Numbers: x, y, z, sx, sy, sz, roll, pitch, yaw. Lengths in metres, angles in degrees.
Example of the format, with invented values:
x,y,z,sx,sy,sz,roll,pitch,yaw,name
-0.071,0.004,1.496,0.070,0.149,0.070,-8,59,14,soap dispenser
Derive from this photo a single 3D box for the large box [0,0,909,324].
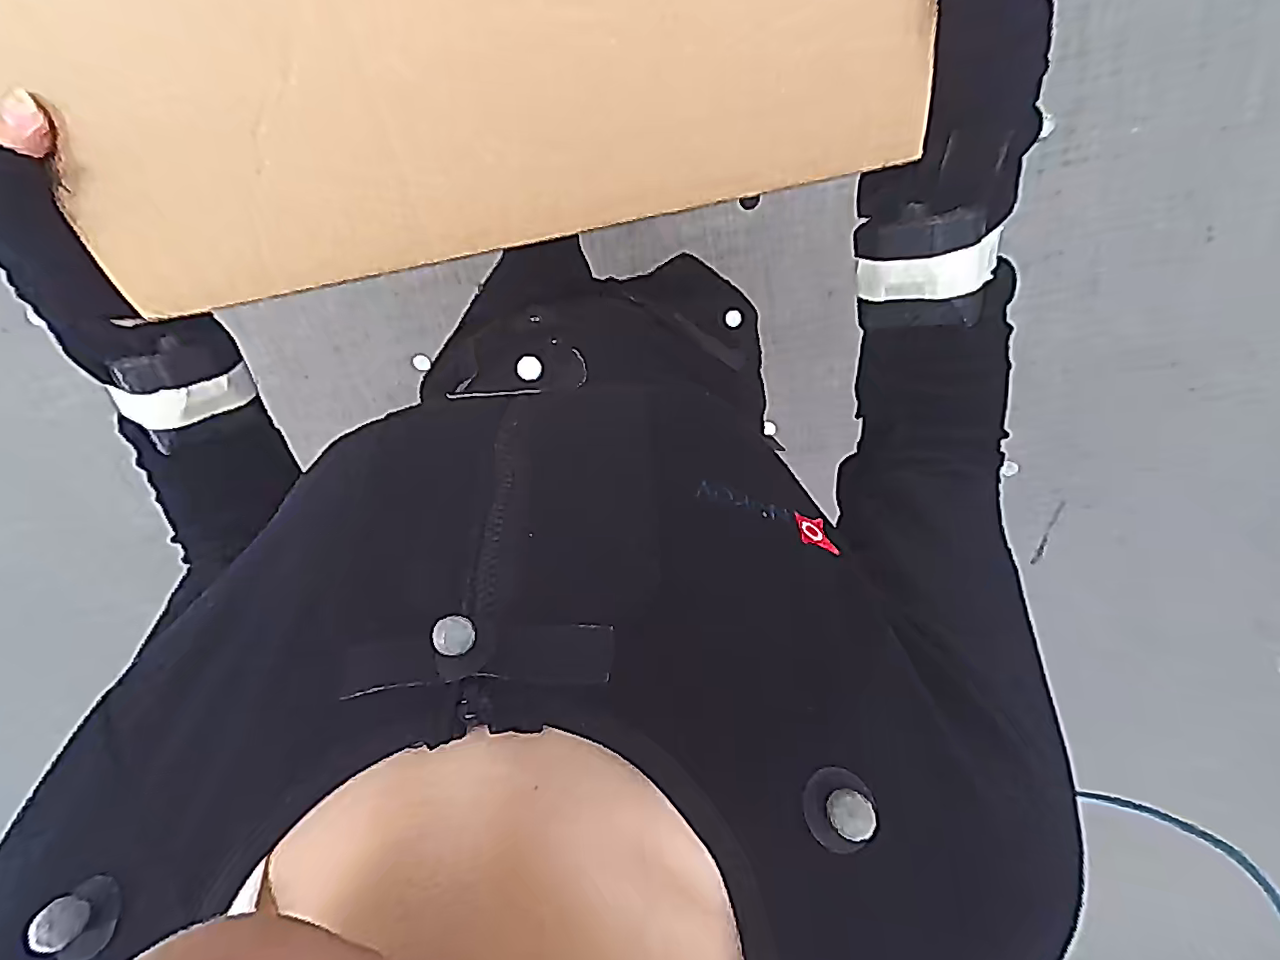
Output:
x,y,z,sx,sy,sz,roll,pitch,yaw,name
-0.099,-0.329,0.315,0.408,0.320,0.320,-10,125,5,large box
